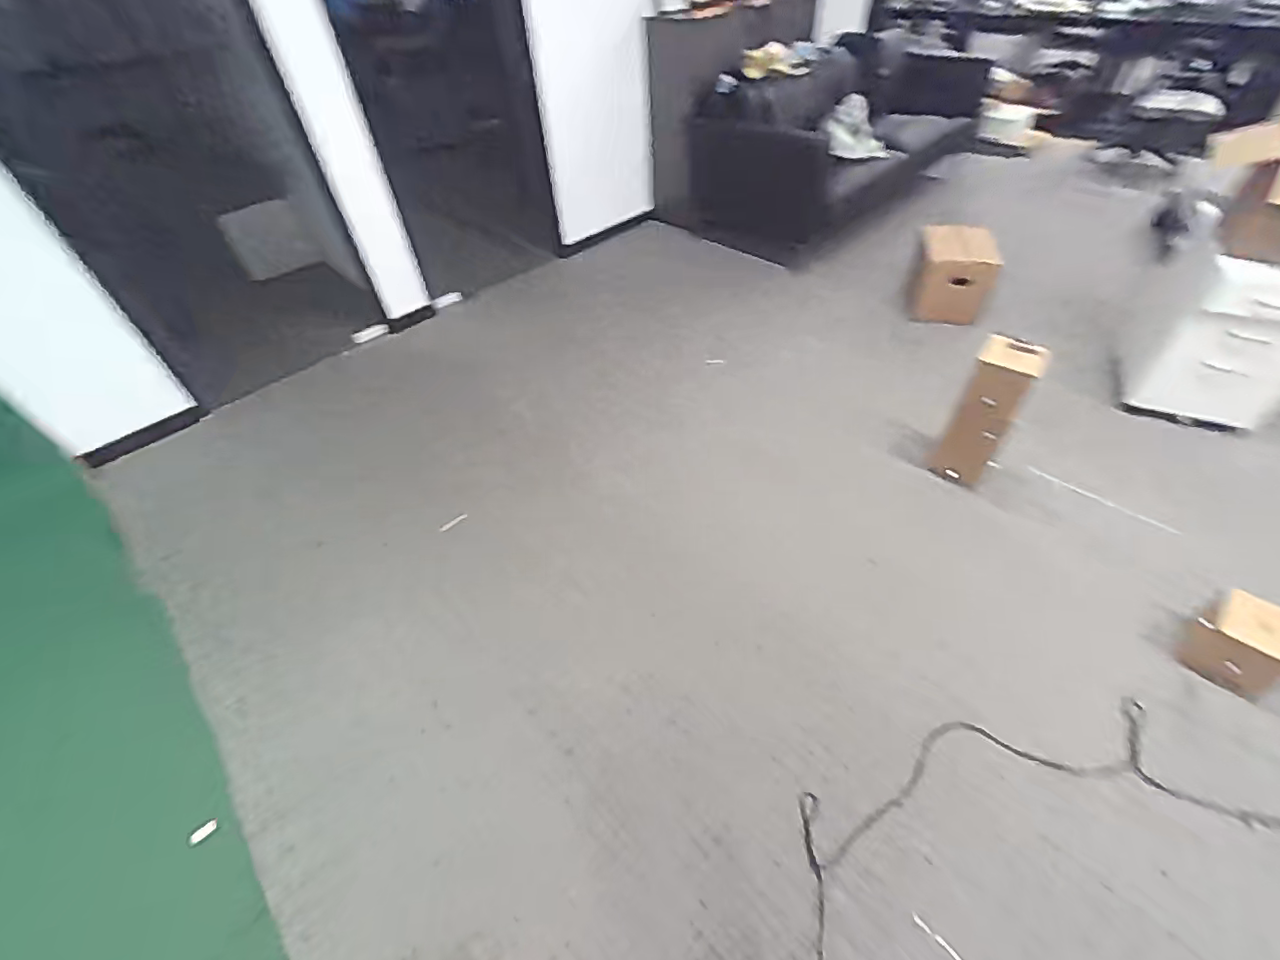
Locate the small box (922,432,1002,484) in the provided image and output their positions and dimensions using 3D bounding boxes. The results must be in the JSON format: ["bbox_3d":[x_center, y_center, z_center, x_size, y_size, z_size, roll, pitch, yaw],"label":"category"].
[{"bbox_3d":[1.170,-0.110,1.974,0.179,0.176,0.168,33,56,30],"label":"small box"}]

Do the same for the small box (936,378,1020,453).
[{"bbox_3d":[1.153,-0.217,1.852,0.179,0.176,0.168,29,54,30],"label":"small box"}]

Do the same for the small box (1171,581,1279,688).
[{"bbox_3d":[1.565,0.411,1.427,0.168,0.176,0.179,32,57,30],"label":"small box"}]
